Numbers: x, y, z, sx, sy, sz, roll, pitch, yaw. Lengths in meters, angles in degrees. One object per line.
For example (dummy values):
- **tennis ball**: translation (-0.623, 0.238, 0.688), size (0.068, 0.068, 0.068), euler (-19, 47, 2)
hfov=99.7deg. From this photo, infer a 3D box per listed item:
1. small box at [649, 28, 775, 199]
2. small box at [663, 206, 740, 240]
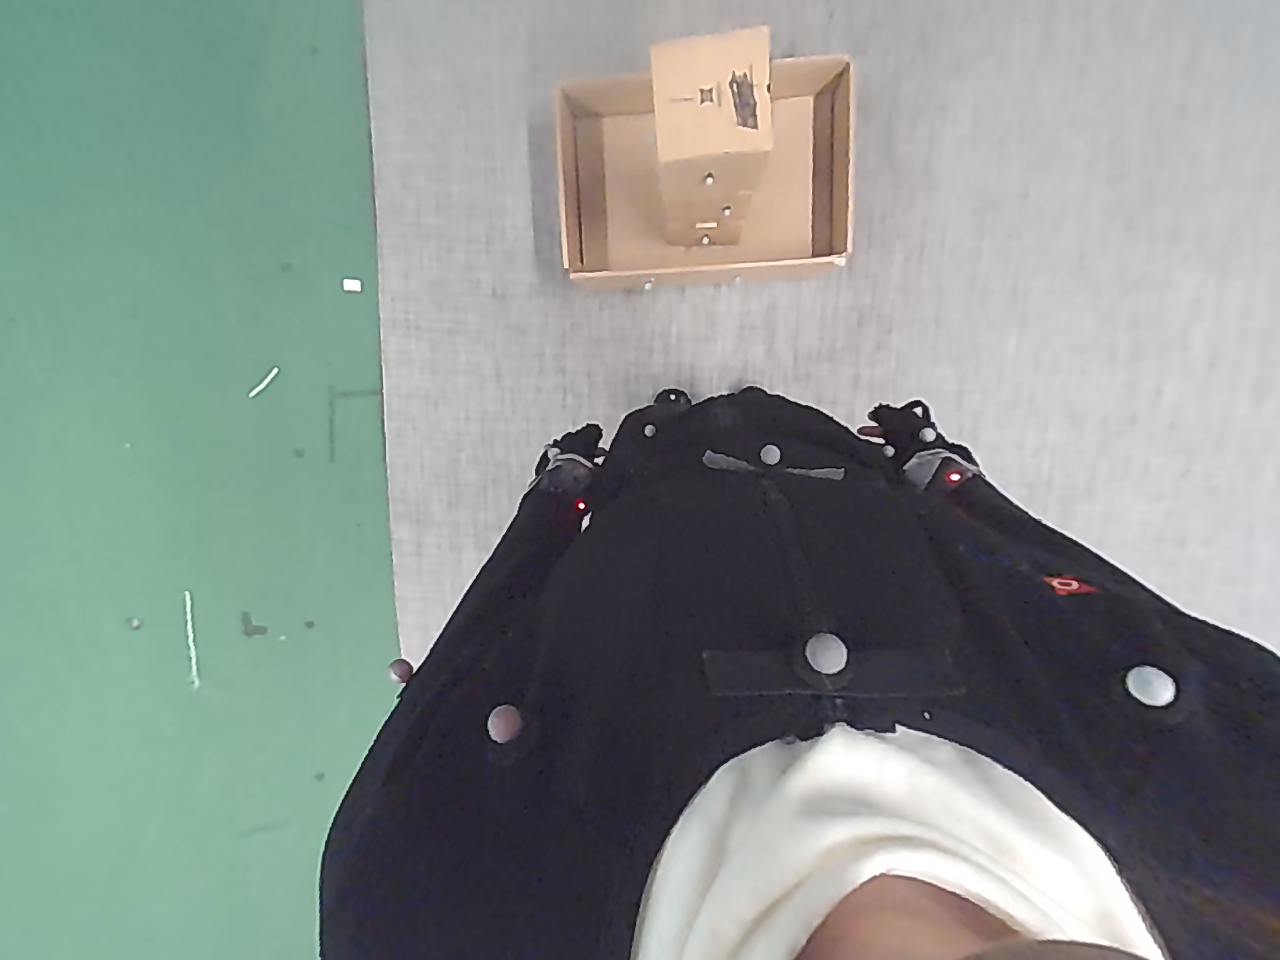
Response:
- **small box**: translation (0.112, -0.582, 0.881), size (0.179, 0.176, 0.168), euler (-7, 99, 5)
- **small box**: translation (0.141, -0.641, 1.201), size (0.168, 0.176, 0.179), euler (2, 100, 5)
